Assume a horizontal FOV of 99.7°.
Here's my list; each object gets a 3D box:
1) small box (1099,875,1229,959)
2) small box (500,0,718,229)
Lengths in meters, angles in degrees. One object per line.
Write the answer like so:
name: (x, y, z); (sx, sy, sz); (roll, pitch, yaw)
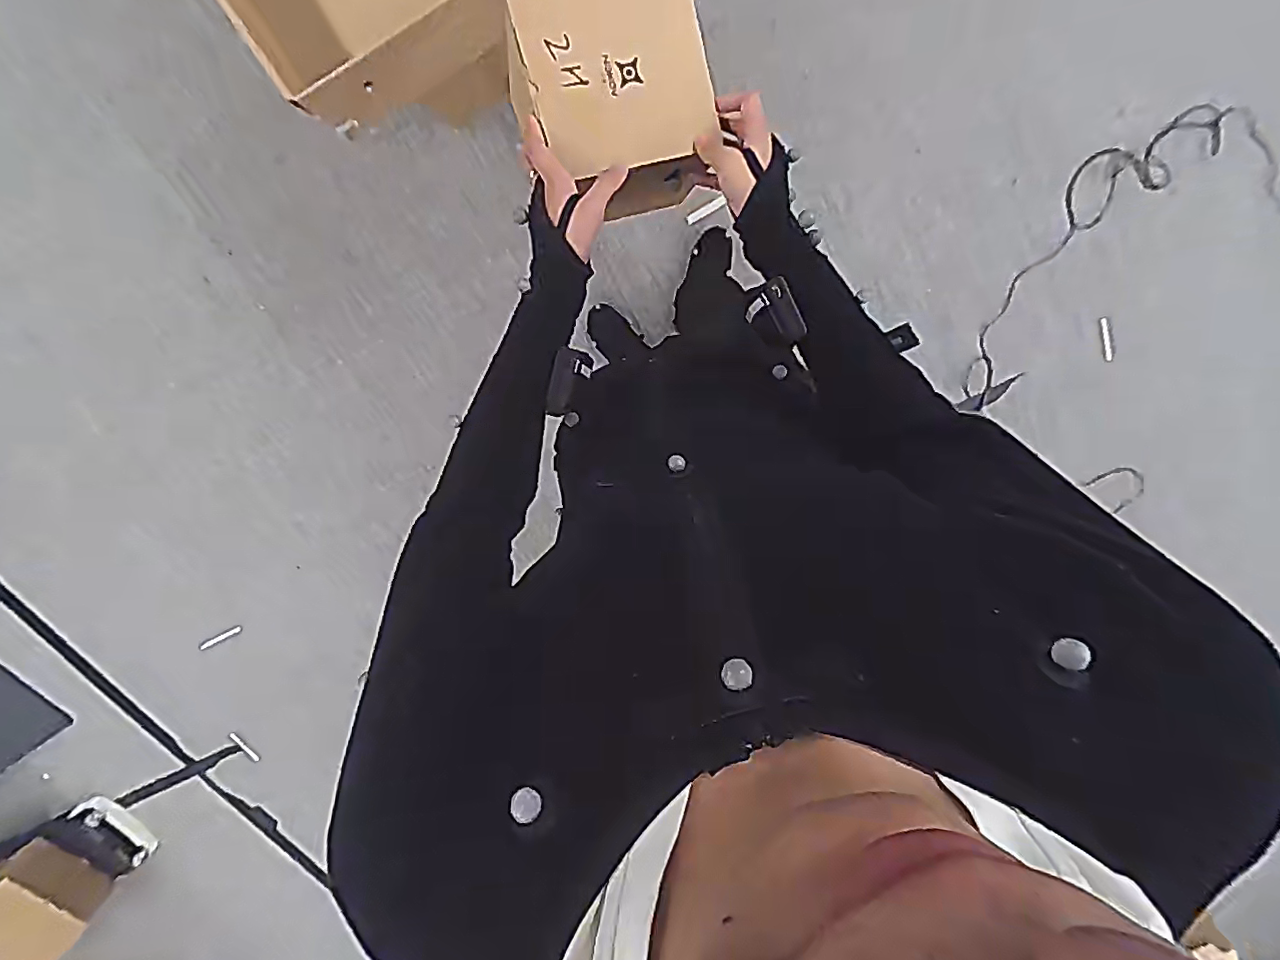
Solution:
small box: (1.283, 1.119, 1.332); (0.168, 0.176, 0.179); (-28, 112, 5)
small box: (-0.040, -0.392, 0.581); (0.179, 0.176, 0.168); (-18, 102, -8)
